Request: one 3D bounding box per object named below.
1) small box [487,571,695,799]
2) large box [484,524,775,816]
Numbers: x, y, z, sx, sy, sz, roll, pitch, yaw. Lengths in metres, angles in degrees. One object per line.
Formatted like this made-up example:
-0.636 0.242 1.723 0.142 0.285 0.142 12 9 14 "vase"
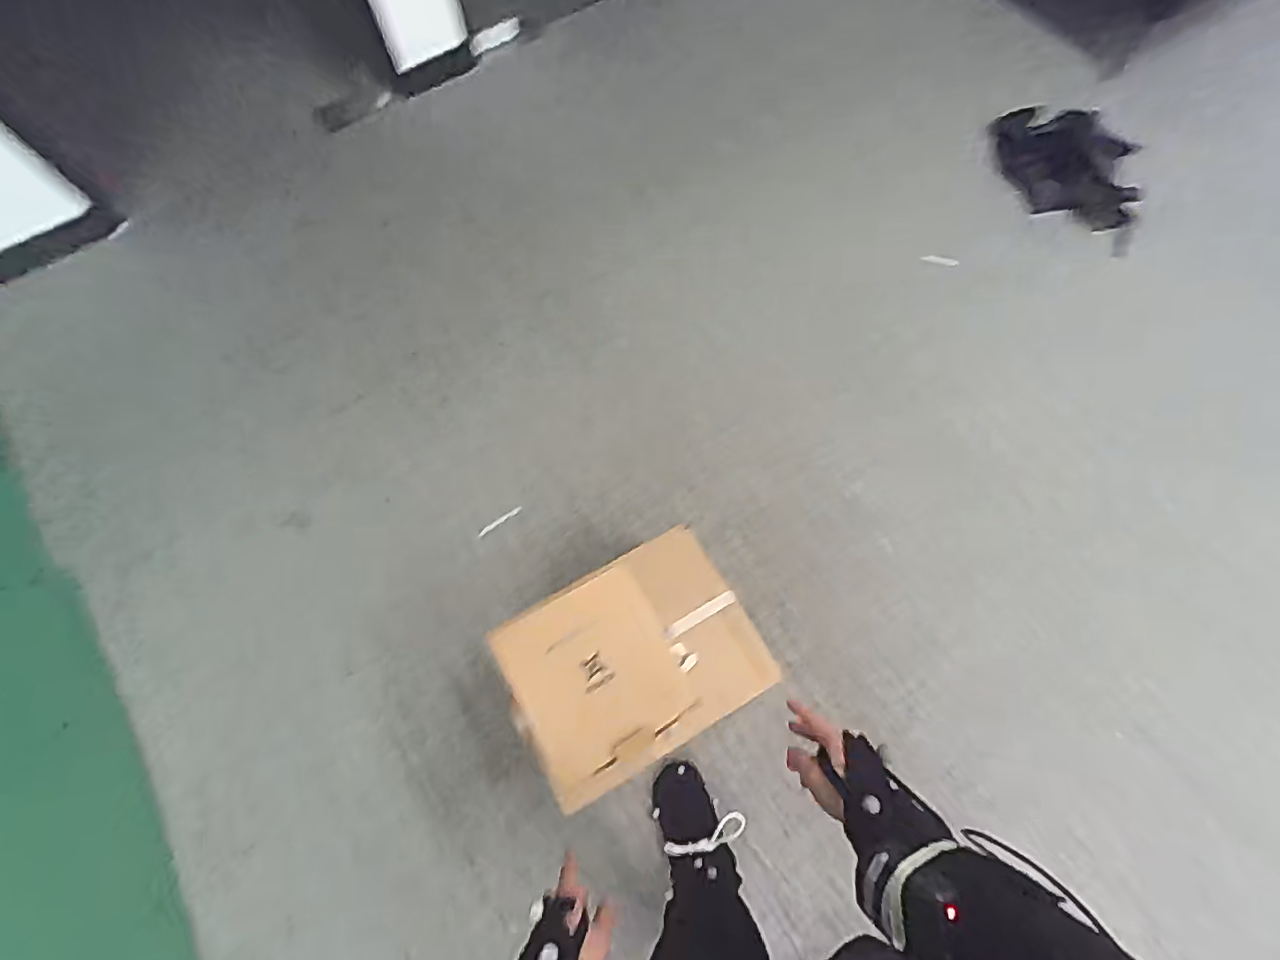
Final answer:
-0.053 0.236 0.644 0.168 0.176 0.179 -29 71 -12 "small box"
-0.022 0.350 1.037 0.408 0.320 0.320 -28 73 -11 "large box"
